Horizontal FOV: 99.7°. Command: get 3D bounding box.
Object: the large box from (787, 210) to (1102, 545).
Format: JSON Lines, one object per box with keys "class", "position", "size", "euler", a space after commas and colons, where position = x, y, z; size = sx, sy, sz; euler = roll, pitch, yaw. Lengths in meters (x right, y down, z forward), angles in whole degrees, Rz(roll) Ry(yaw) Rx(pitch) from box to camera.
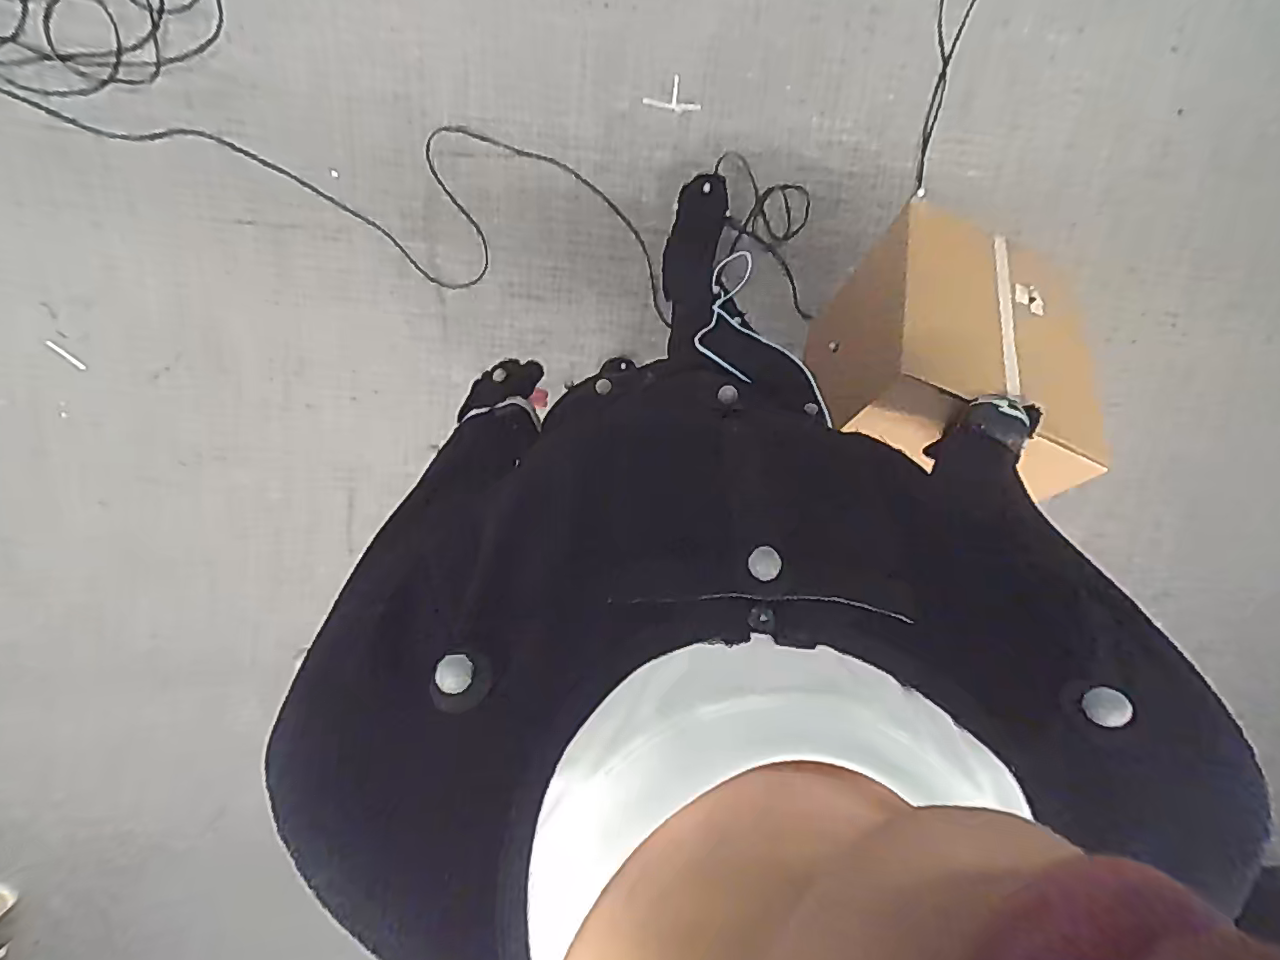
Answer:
{"class": "large box", "position": [0.479, -0.160, 0.921], "size": [0.320, 0.408, 0.320], "euler": [23, 148, -6]}
